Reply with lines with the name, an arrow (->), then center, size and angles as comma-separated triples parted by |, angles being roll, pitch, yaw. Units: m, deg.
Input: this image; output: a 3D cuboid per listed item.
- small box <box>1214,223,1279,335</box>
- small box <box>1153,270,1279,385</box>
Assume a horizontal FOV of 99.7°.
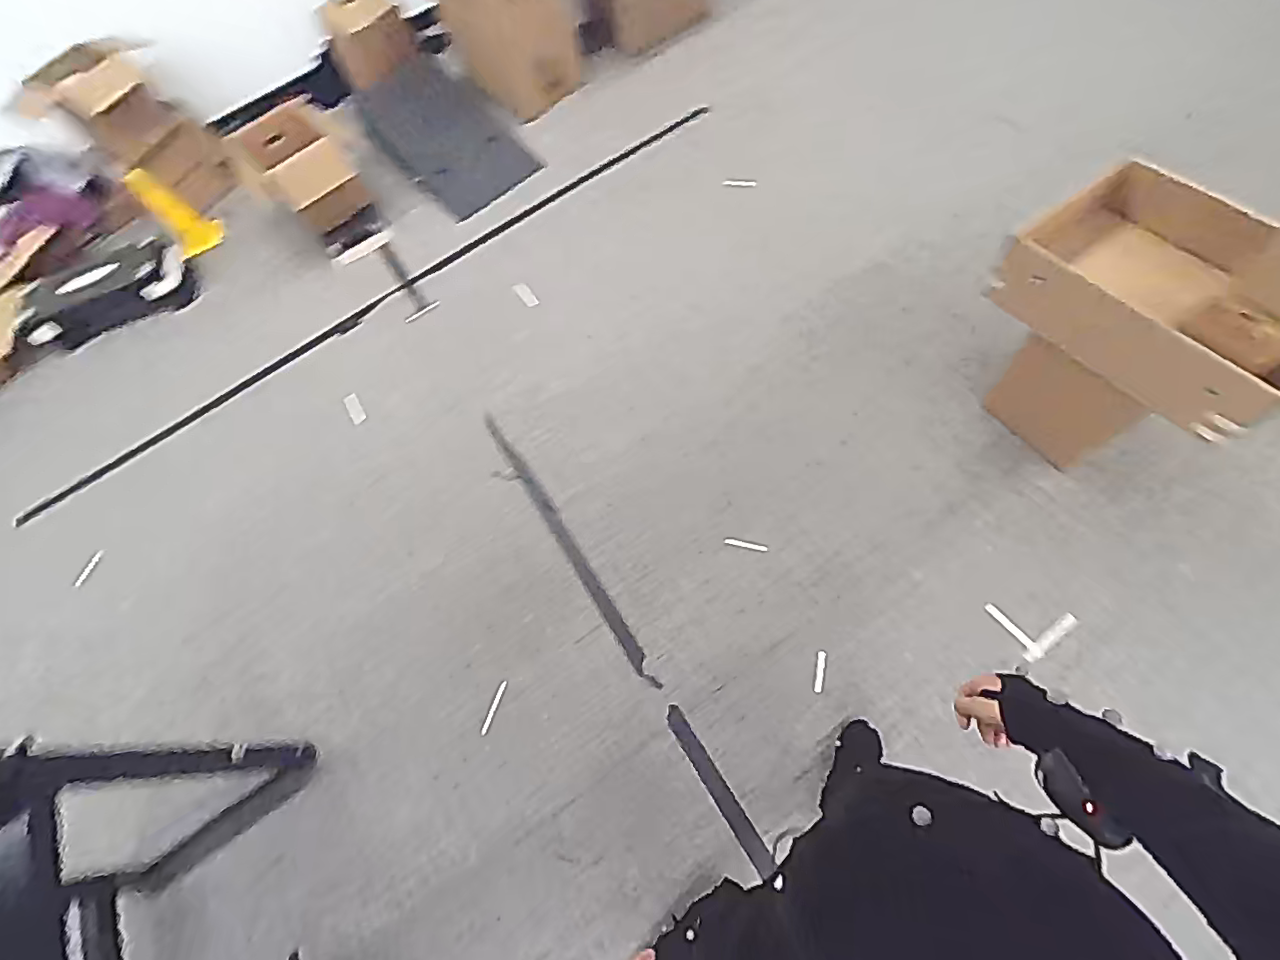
small box -> 1.236, -0.400, 0.986 | 0.179, 0.176, 0.168 | -31, 64, -7
small box -> 1.248, -0.332, 1.135 | 0.179, 0.176, 0.168 | -28, 65, -6
